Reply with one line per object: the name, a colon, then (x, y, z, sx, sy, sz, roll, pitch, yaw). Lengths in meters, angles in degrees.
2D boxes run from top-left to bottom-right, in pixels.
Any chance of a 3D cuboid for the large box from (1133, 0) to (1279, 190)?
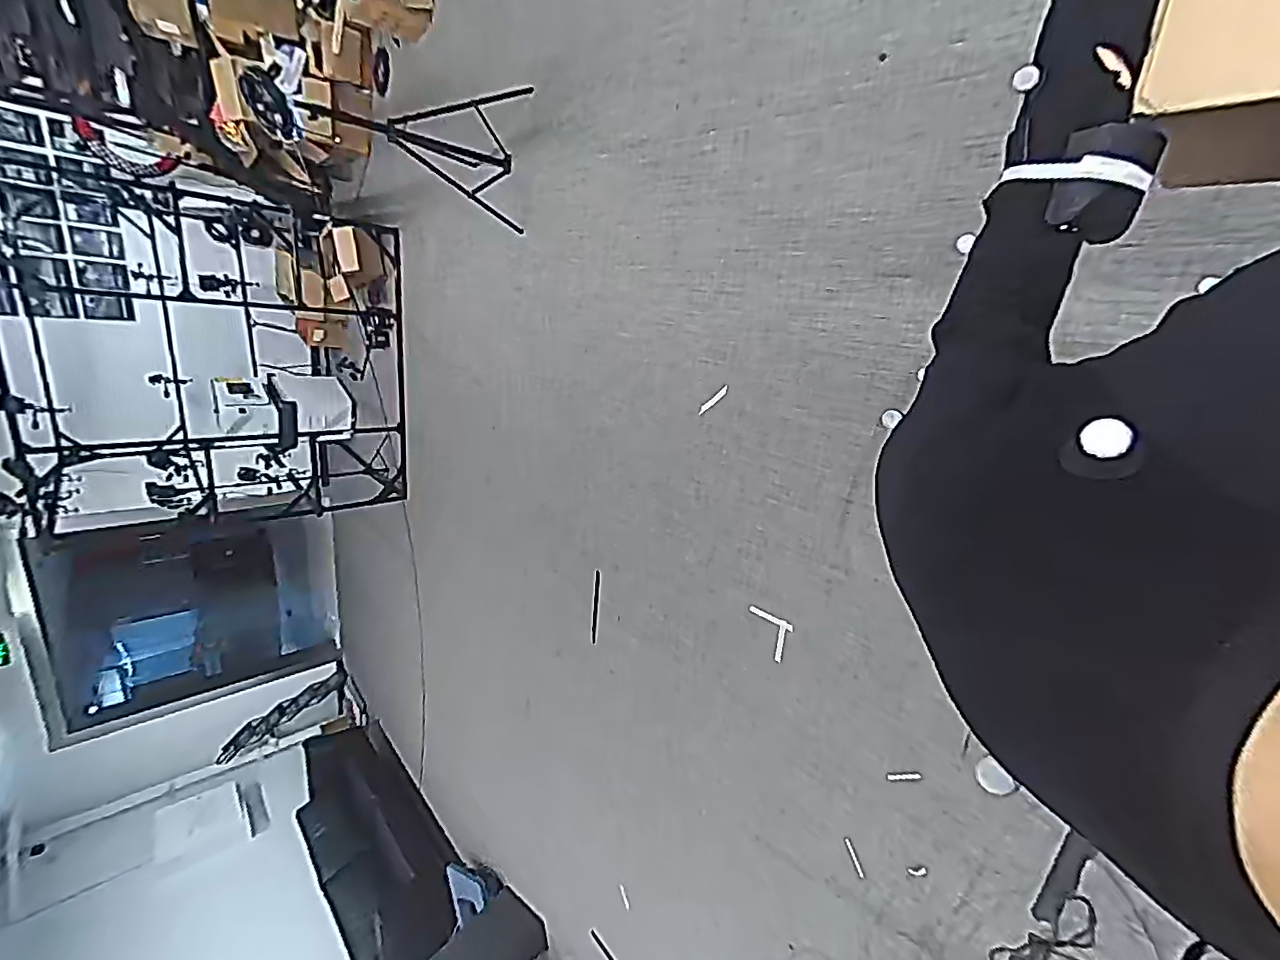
large box: (0.591, -0.378, 0.303, 0.408, 0.320, 0.320, 20, 116, 41)
